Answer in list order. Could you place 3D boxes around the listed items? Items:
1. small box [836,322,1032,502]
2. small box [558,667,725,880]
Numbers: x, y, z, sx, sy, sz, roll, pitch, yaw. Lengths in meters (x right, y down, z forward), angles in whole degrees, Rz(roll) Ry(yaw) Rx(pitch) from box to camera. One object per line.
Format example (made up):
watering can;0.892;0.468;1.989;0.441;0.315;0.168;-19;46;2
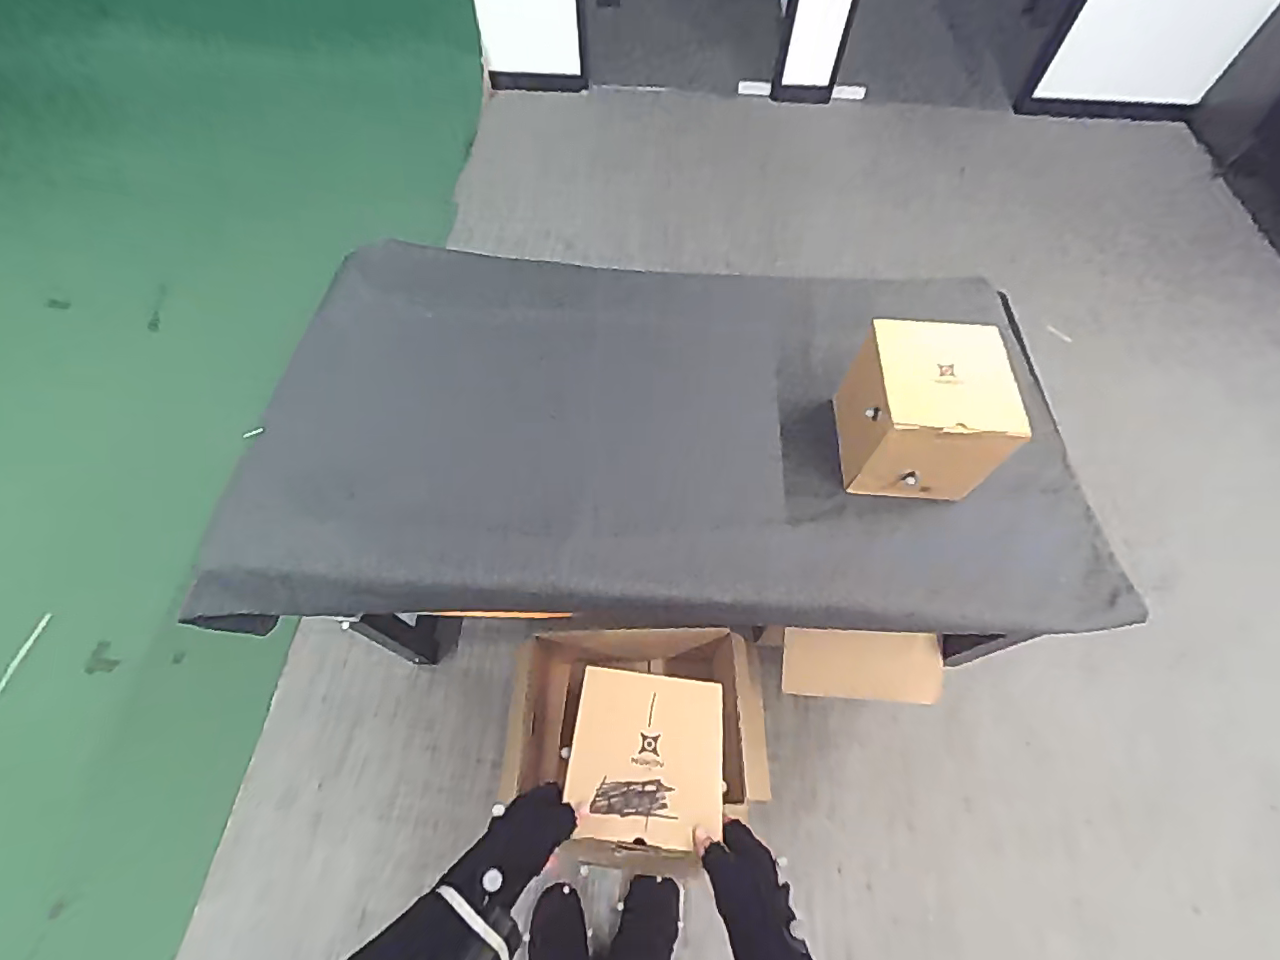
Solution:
small box;0.383;-0.090;0.745;0.168;0.176;0.179;4;61;1
small box;0.004;0.349;0.638;0.168;0.176;0.179;8;46;0
